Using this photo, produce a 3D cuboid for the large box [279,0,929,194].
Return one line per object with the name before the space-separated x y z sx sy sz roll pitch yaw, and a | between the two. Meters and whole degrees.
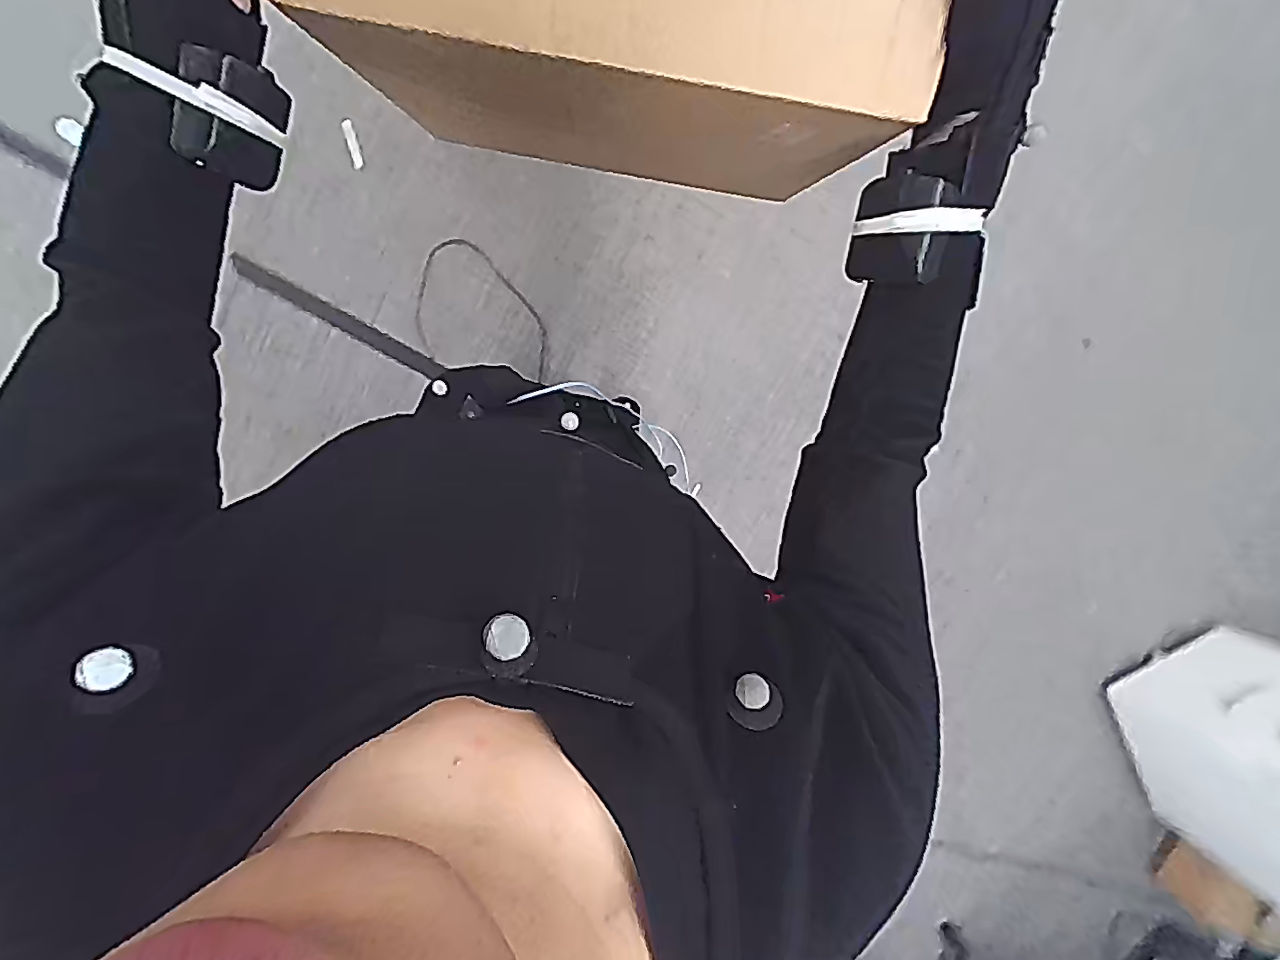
large box | -0.013 -0.449 0.435 0.408 0.320 0.320 6 109 -5
